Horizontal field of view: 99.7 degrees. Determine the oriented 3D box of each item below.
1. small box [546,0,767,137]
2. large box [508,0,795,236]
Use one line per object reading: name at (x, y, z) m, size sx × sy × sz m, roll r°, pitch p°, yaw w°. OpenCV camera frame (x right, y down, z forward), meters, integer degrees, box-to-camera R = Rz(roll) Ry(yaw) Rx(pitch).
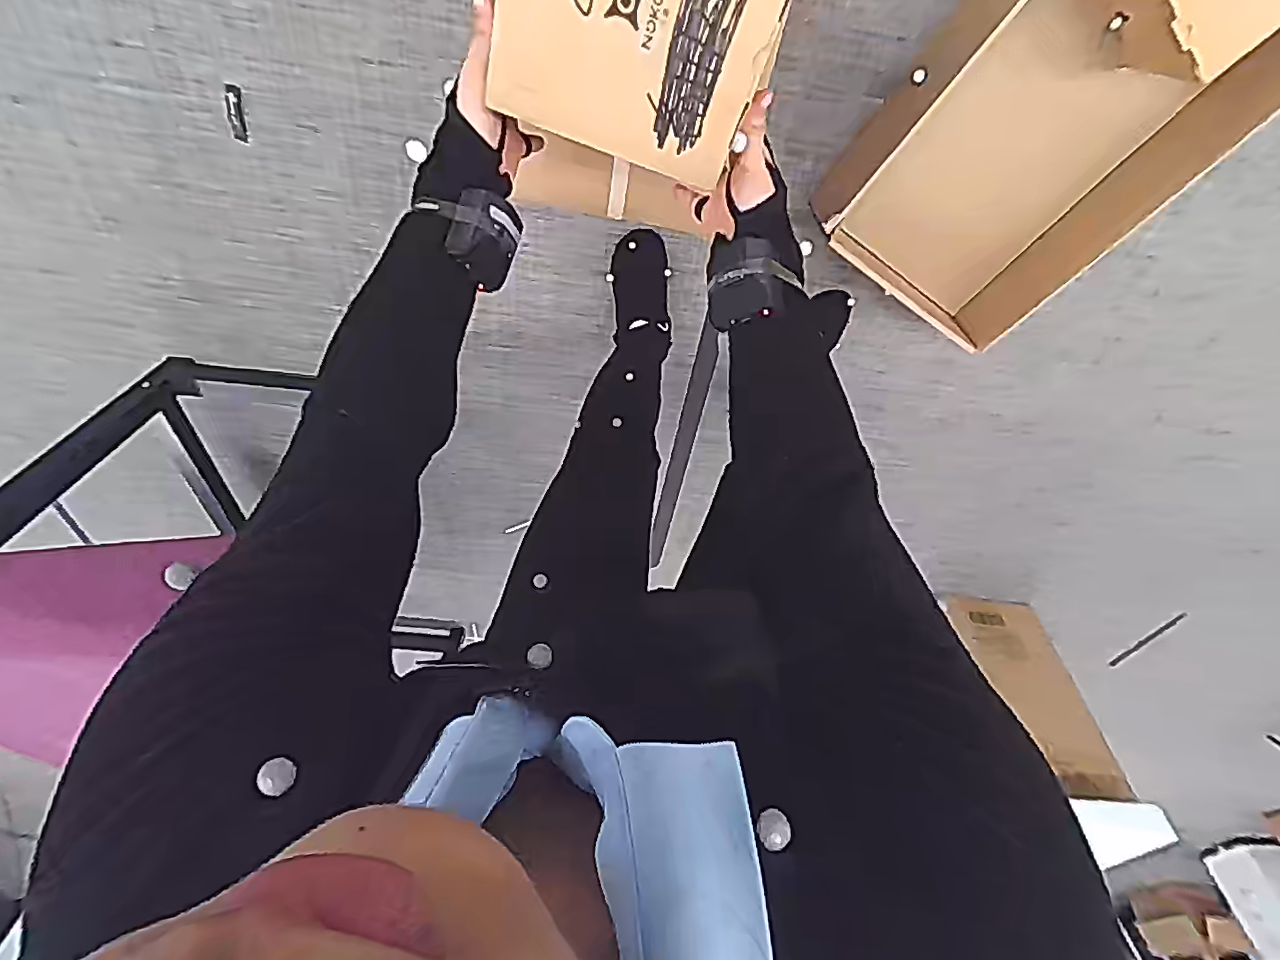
small box at (0.020, -0.457, 0.510) m, size 0.179 × 0.176 × 0.168 m, roll 11°, pitch 133°, yaw -8°
large box at (0.013, -0.604, 0.710) m, size 0.320 × 0.320 × 0.408 m, roll 9°, pitch 134°, yaw -4°
